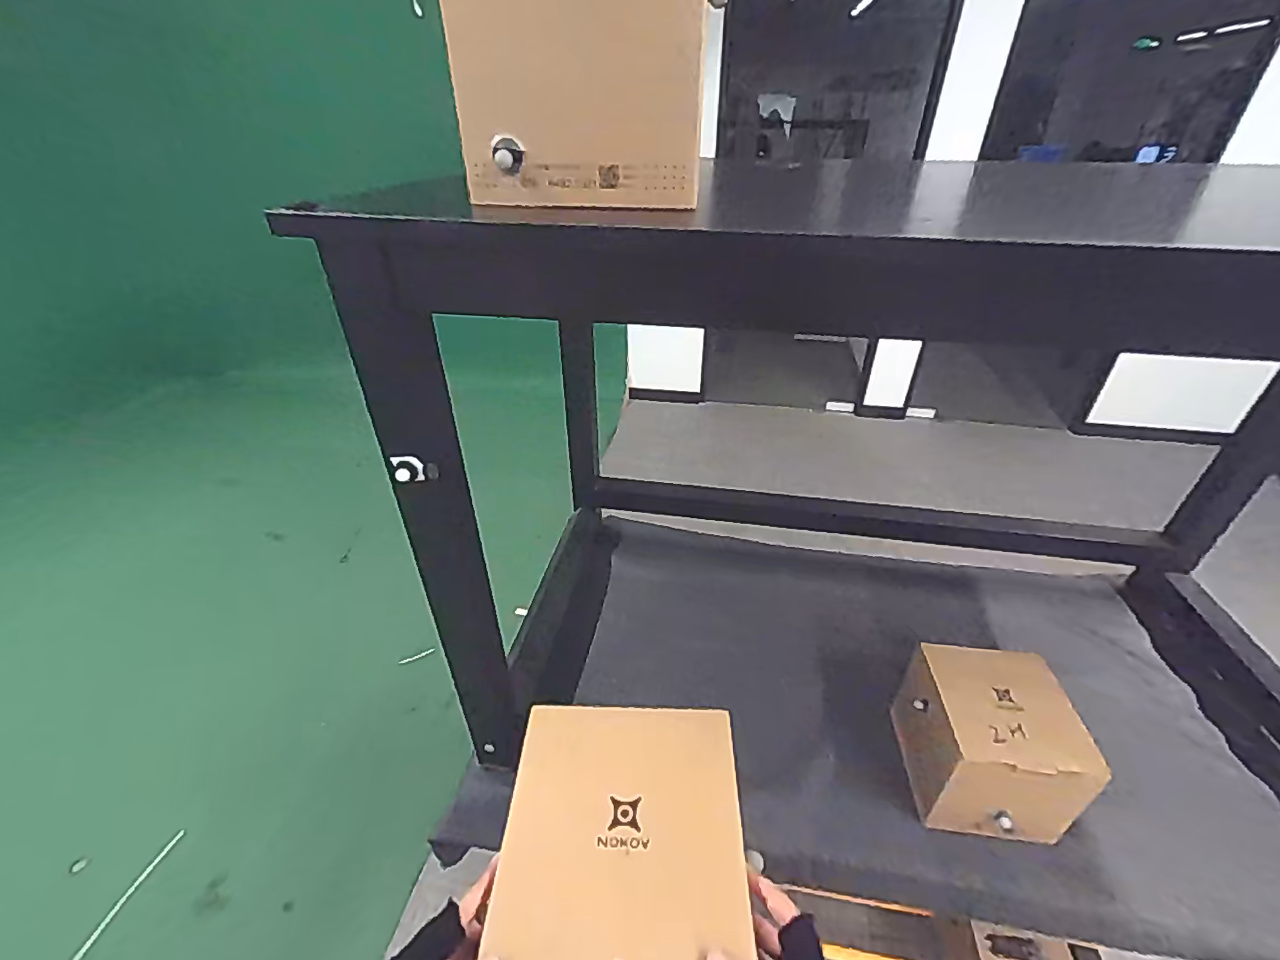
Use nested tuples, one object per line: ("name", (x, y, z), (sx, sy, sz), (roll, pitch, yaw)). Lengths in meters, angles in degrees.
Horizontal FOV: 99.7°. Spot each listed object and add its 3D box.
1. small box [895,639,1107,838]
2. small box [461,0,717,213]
("small box", (0.473, 0.351, 0.748), (0.168, 0.176, 0.179), (4, 33, 7))
("small box", (-0.025, -0.311, 0.423), (0.168, 0.176, 0.179), (4, 33, 4))
